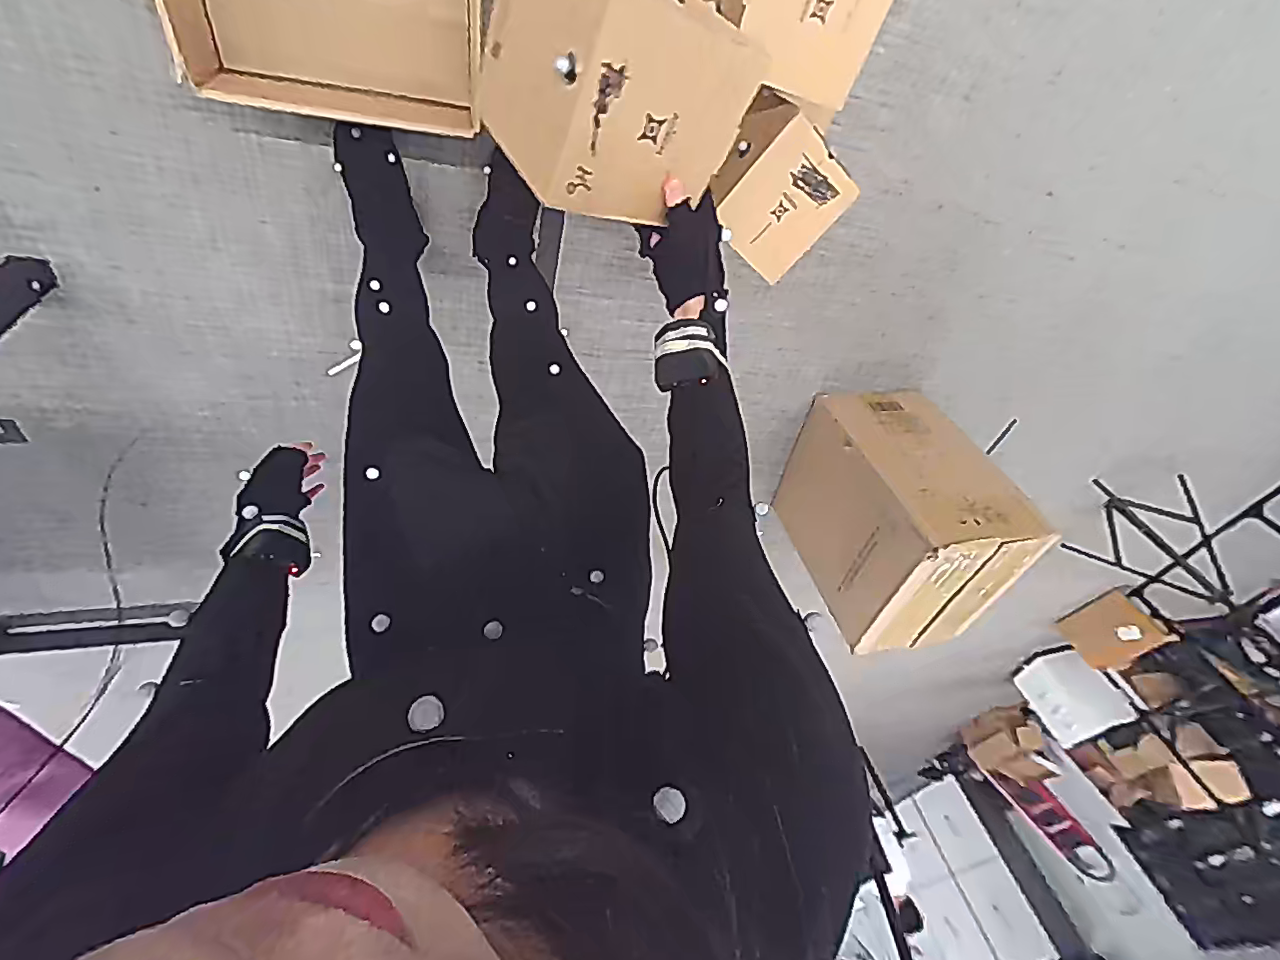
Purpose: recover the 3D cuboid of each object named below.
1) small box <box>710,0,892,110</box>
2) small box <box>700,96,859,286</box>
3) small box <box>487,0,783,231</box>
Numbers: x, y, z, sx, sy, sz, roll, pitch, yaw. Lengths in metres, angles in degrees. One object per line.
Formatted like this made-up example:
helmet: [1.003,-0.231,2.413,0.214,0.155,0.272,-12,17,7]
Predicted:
small box: [0.183,-0.592,0.664,0.179,0.176,0.168,2,136,-21]
small box: [0.184,-0.440,0.817,0.168,0.176,0.179,26,122,-37]
small box: [-0.013,-0.363,0.497,0.179,0.176,0.168,-11,150,-40]
